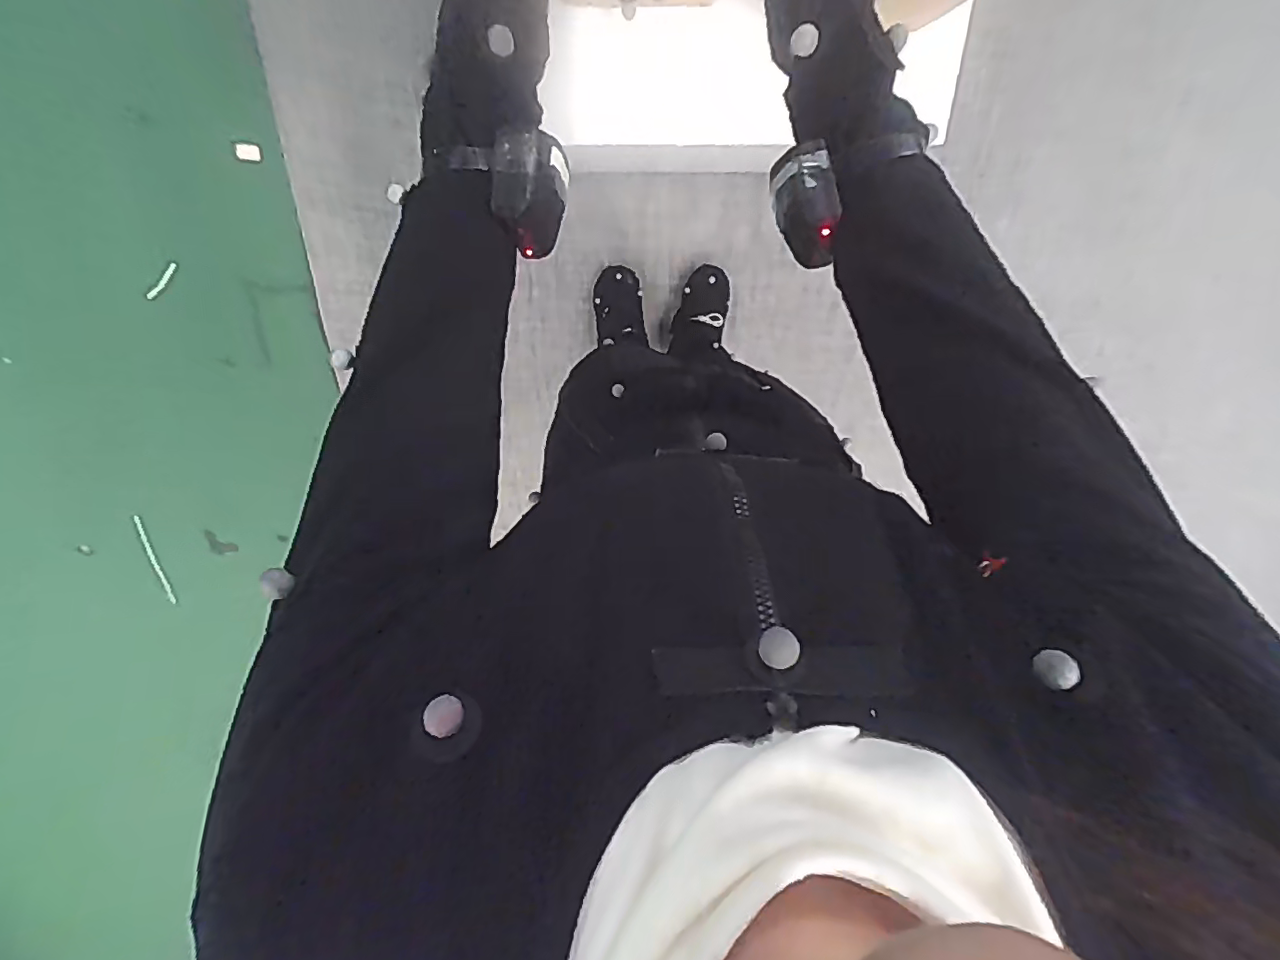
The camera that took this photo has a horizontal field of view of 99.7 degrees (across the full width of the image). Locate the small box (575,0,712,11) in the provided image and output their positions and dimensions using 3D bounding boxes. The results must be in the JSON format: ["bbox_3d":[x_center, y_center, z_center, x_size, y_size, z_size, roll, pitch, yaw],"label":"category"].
[{"bbox_3d":[0.001,-0.562,0.488,0.168,0.176,0.179,-2,118,0],"label":"small box"}]

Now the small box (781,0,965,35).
[{"bbox_3d":[0.238,-0.550,0.496,0.168,0.176,0.179,3,116,-3],"label":"small box"}]
